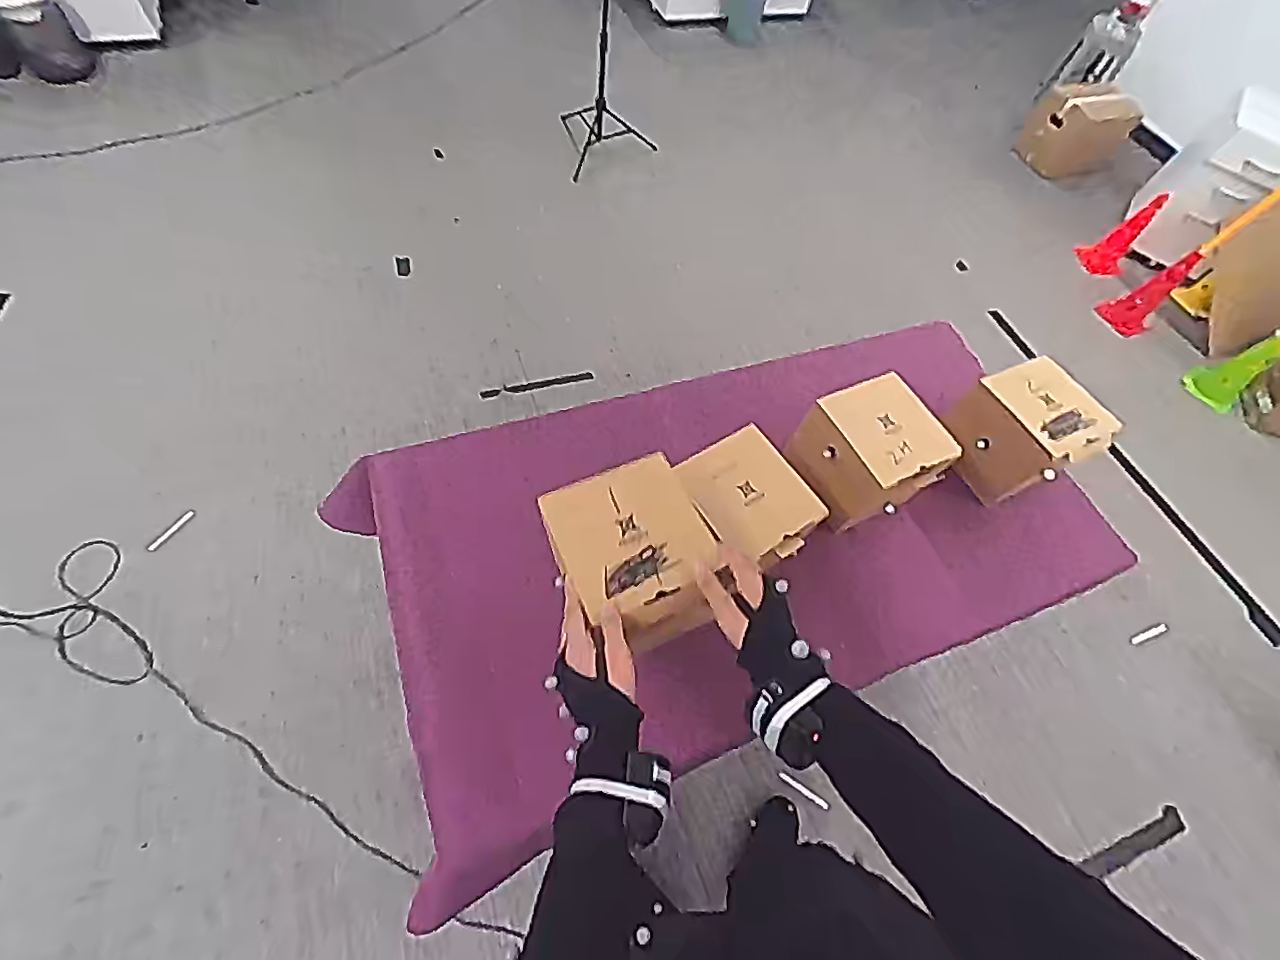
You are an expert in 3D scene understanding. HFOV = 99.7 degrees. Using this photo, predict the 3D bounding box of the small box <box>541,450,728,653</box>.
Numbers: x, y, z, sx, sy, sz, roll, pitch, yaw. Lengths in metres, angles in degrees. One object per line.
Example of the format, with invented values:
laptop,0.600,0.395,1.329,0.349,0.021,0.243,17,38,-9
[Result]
small box,-0.008,0.098,0.678,0.168,0.176,0.179,-21,59,-13

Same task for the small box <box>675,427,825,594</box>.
small box,0.142,0.057,0.835,0.168,0.176,0.179,-28,68,-21

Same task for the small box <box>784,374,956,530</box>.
small box,0.374,-0.043,0.917,0.168,0.176,0.179,-21,66,-17
